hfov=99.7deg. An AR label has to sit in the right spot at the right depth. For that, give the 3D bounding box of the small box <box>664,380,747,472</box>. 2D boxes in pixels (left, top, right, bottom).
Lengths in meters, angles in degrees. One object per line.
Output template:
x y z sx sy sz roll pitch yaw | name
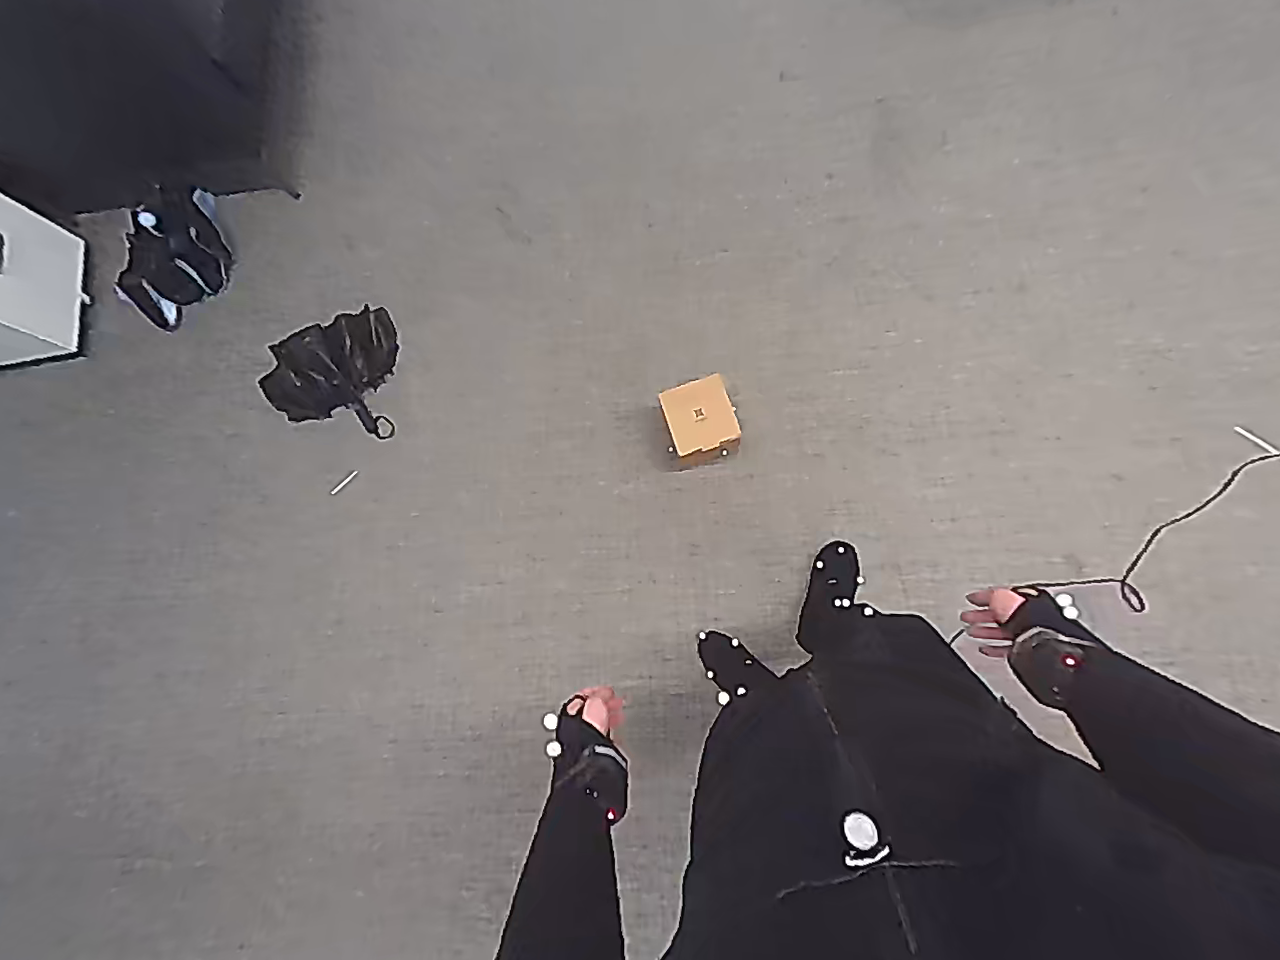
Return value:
0.172 -0.130 1.412 0.168 0.176 0.179 -19 76 2 | small box
